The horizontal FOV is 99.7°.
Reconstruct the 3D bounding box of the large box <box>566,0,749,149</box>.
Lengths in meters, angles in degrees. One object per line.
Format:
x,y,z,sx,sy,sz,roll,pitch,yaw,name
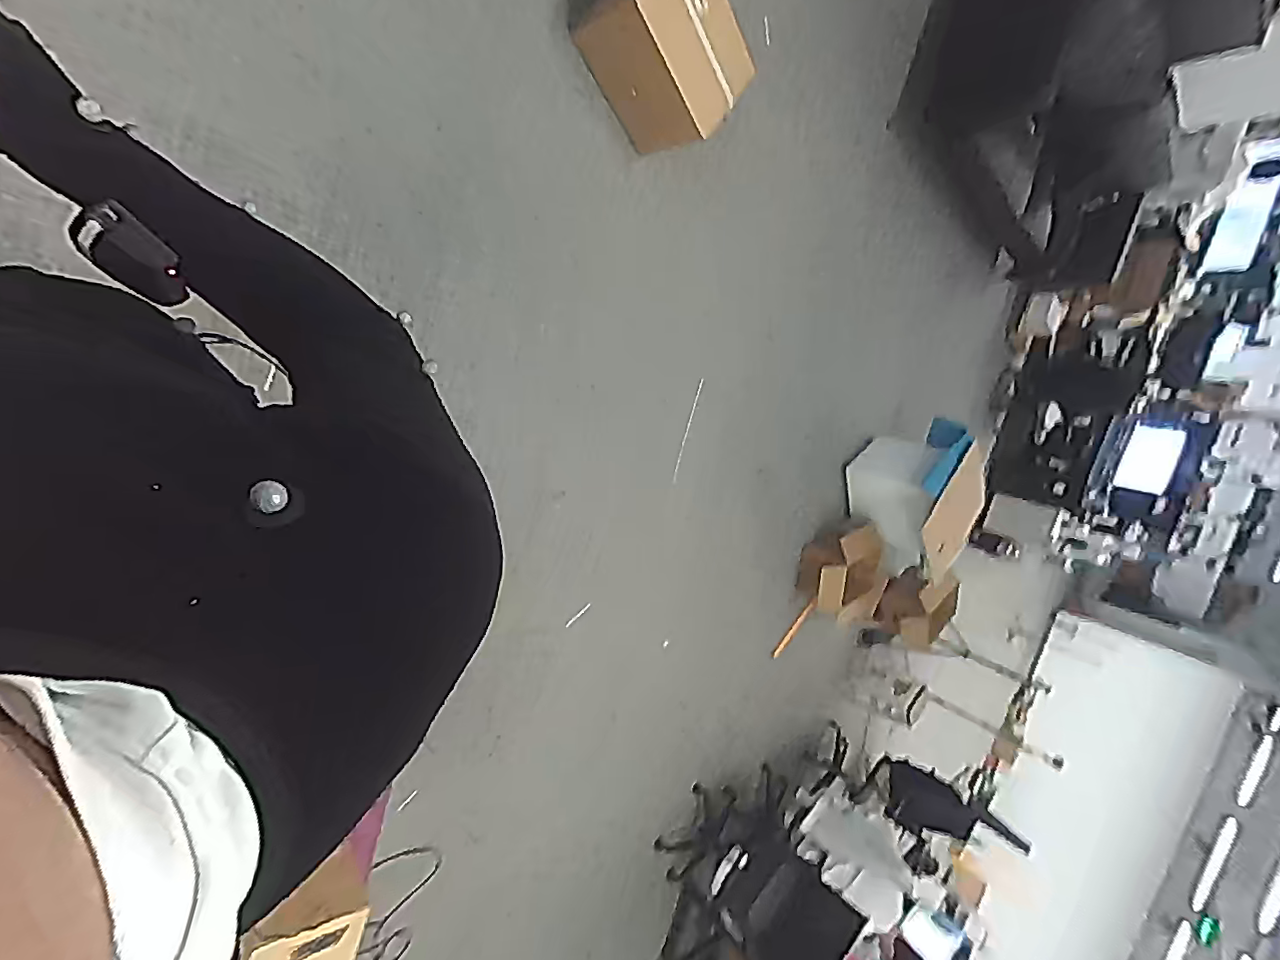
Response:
0.059,-1.313,1.646,0.408,0.320,0.320,43,76,-42,large box

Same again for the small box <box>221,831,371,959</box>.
-0.584,0.733,0.911,0.168,0.176,0.179,13,99,-44,small box
